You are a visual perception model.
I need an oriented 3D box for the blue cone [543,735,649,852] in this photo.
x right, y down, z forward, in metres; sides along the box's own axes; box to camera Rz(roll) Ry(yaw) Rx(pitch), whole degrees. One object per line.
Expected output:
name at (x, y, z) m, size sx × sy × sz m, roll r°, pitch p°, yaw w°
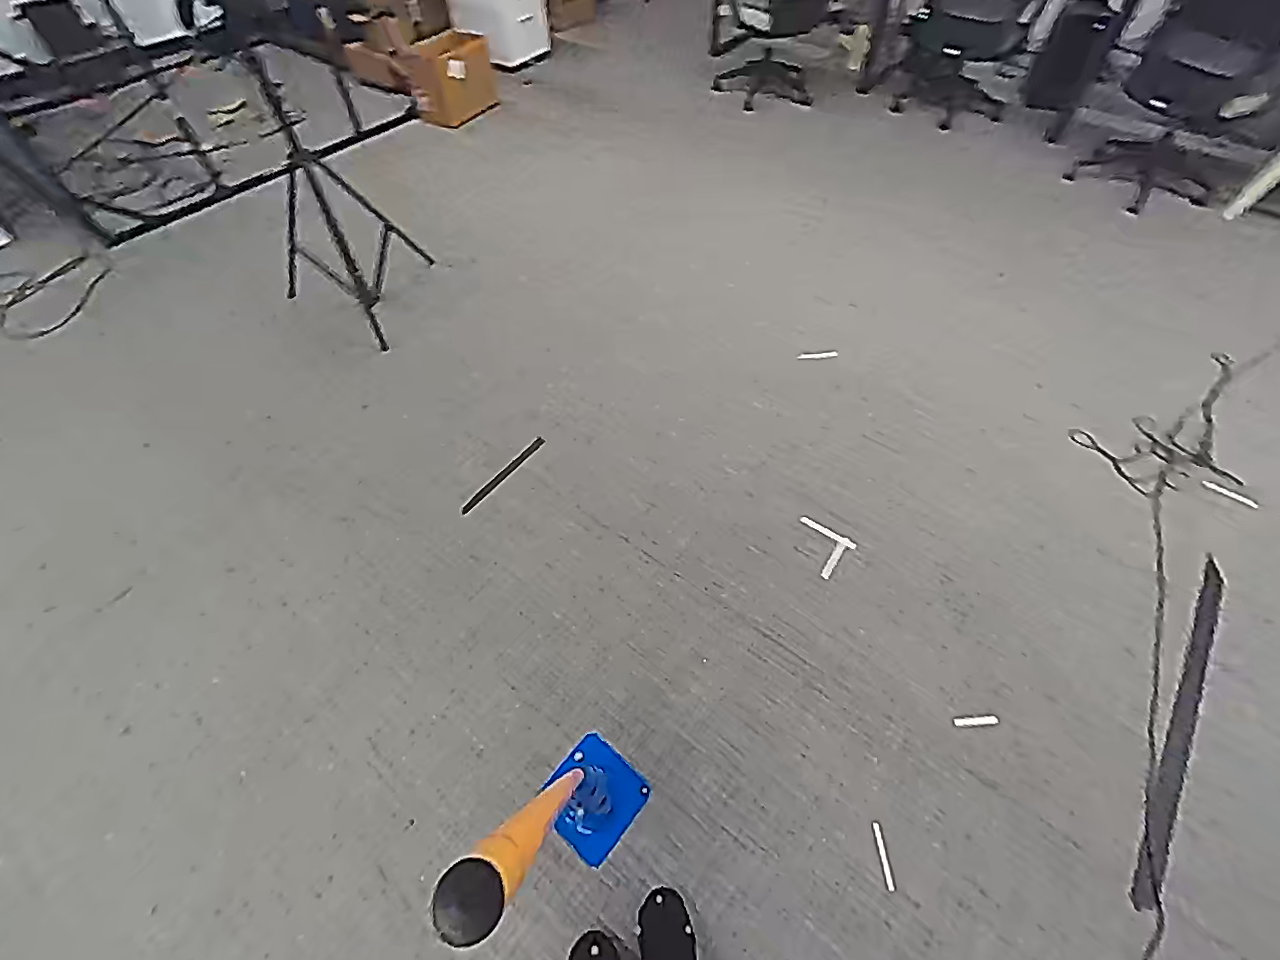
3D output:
blue cone at (-0.102, 0.607, 1.089) m, size 0.193 × 0.380 × 0.192 m, roll 35°, pitch 61°, yaw 23°
